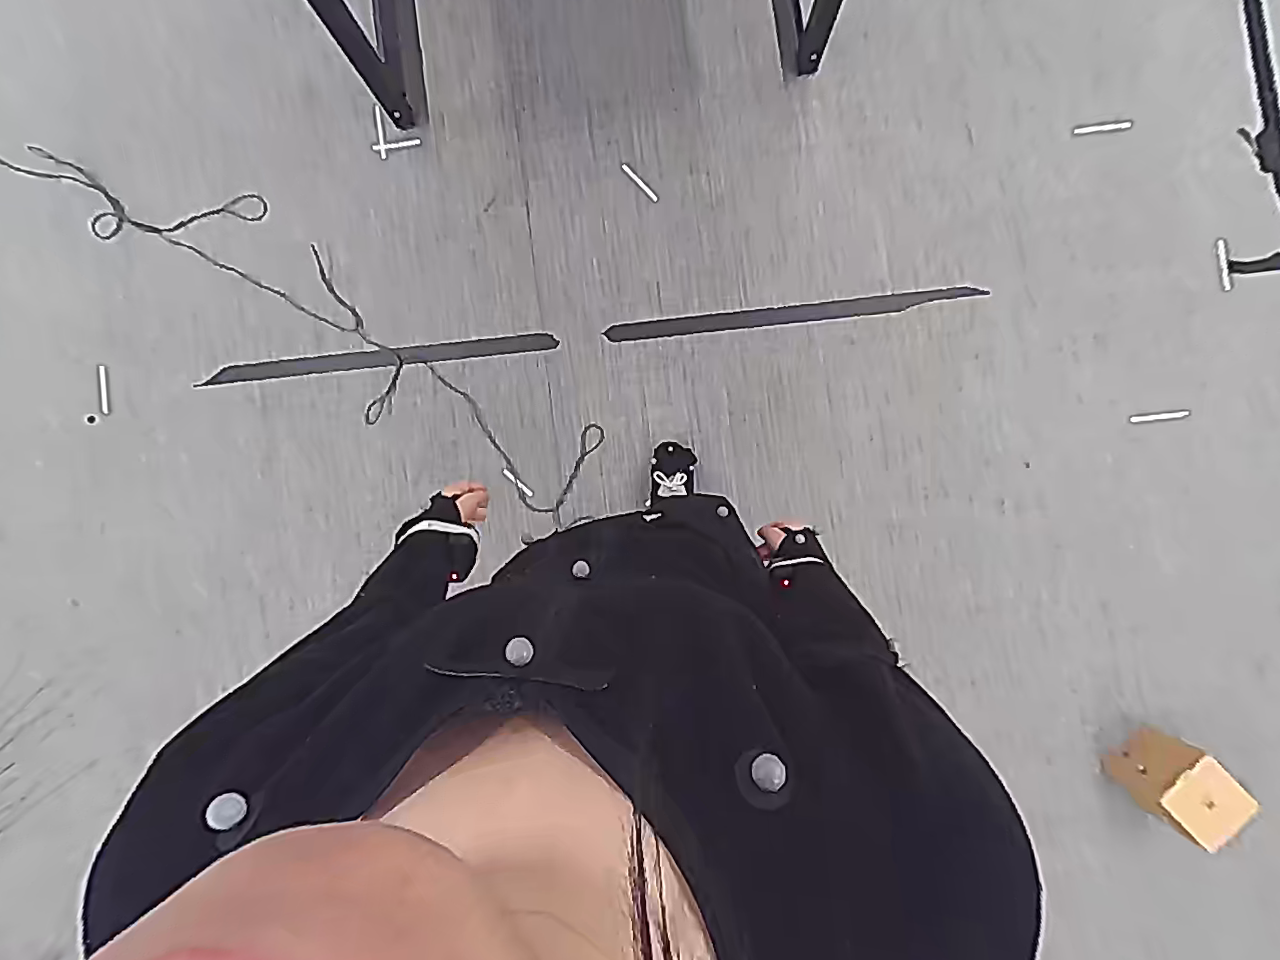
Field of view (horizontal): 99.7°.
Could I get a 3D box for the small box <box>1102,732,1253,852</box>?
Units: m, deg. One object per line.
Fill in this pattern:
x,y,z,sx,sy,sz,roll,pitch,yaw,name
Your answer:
1.341,0.769,1.364,0.168,0.176,0.179,-44,89,1,small box
